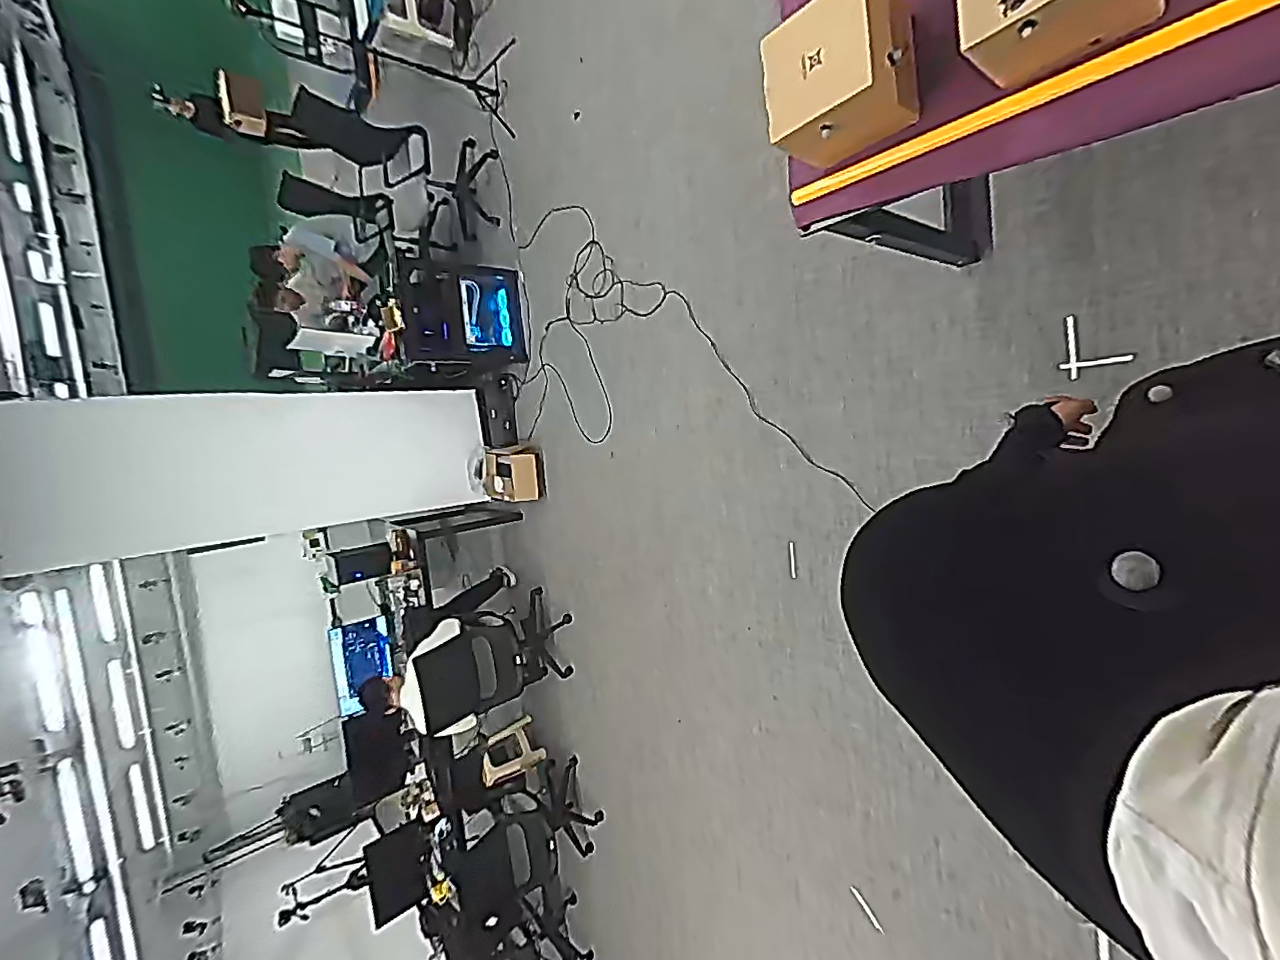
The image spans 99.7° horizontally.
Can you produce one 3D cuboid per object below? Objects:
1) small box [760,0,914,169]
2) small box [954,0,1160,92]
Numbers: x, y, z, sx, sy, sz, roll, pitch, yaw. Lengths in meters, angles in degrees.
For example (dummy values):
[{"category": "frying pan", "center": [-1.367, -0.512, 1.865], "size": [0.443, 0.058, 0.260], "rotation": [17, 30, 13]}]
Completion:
[{"category": "small box", "center": [0.318, -0.631, 0.860], "size": [0.179, 0.176, 0.168], "rotation": [-2, 96, 51]}, {"category": "small box", "center": [0.494, -0.616, 0.644], "size": [0.168, 0.176, 0.179], "rotation": [1, 98, 52]}]
